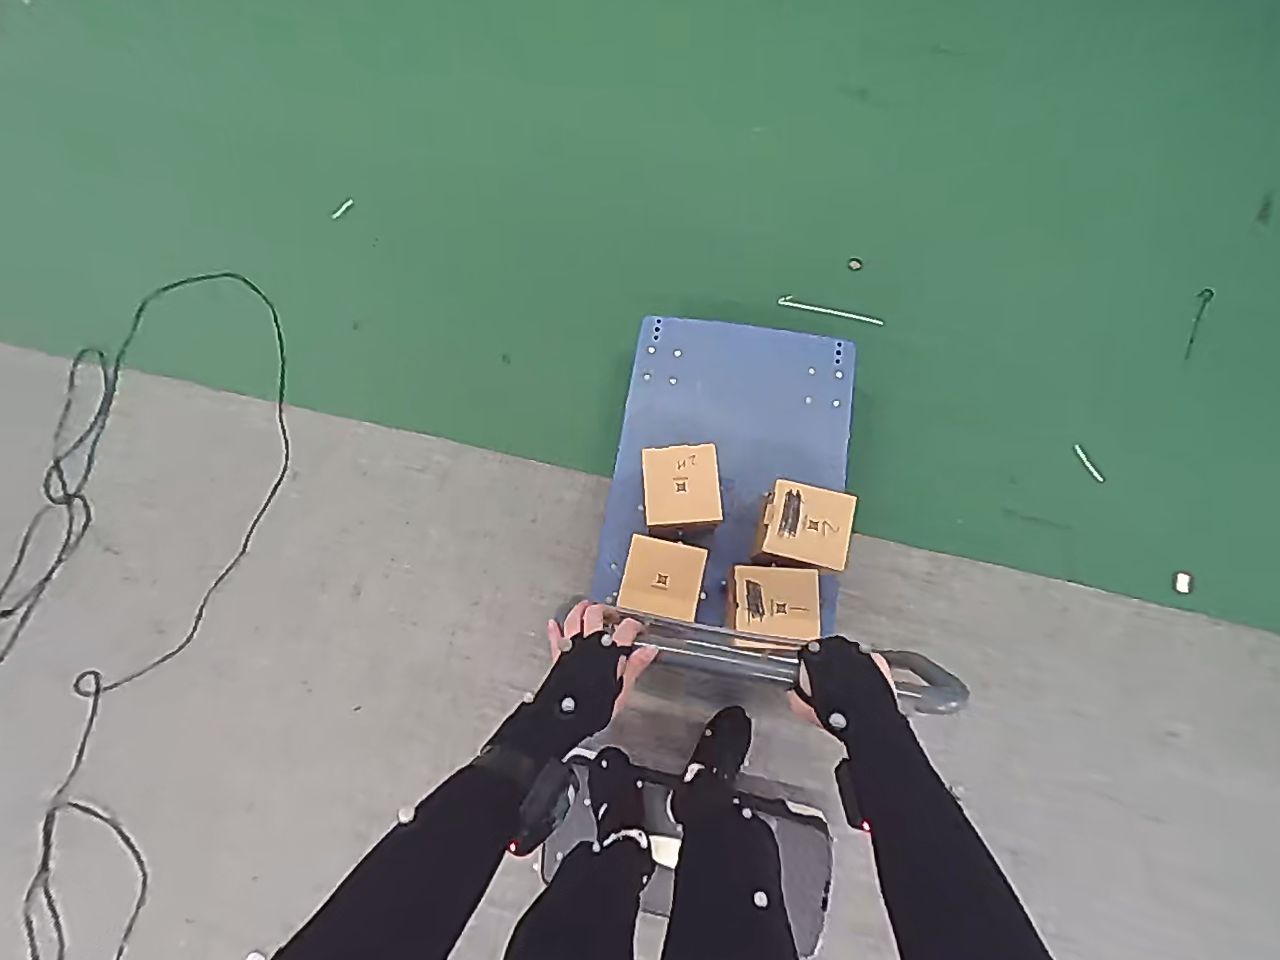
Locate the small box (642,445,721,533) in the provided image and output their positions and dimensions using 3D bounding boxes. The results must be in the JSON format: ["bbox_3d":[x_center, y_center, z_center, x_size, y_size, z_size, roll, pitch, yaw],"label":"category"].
[{"bbox_3d":[0.094,0.028,1.257,0.168,0.176,0.179,-3,77,1],"label":"small box"}]
